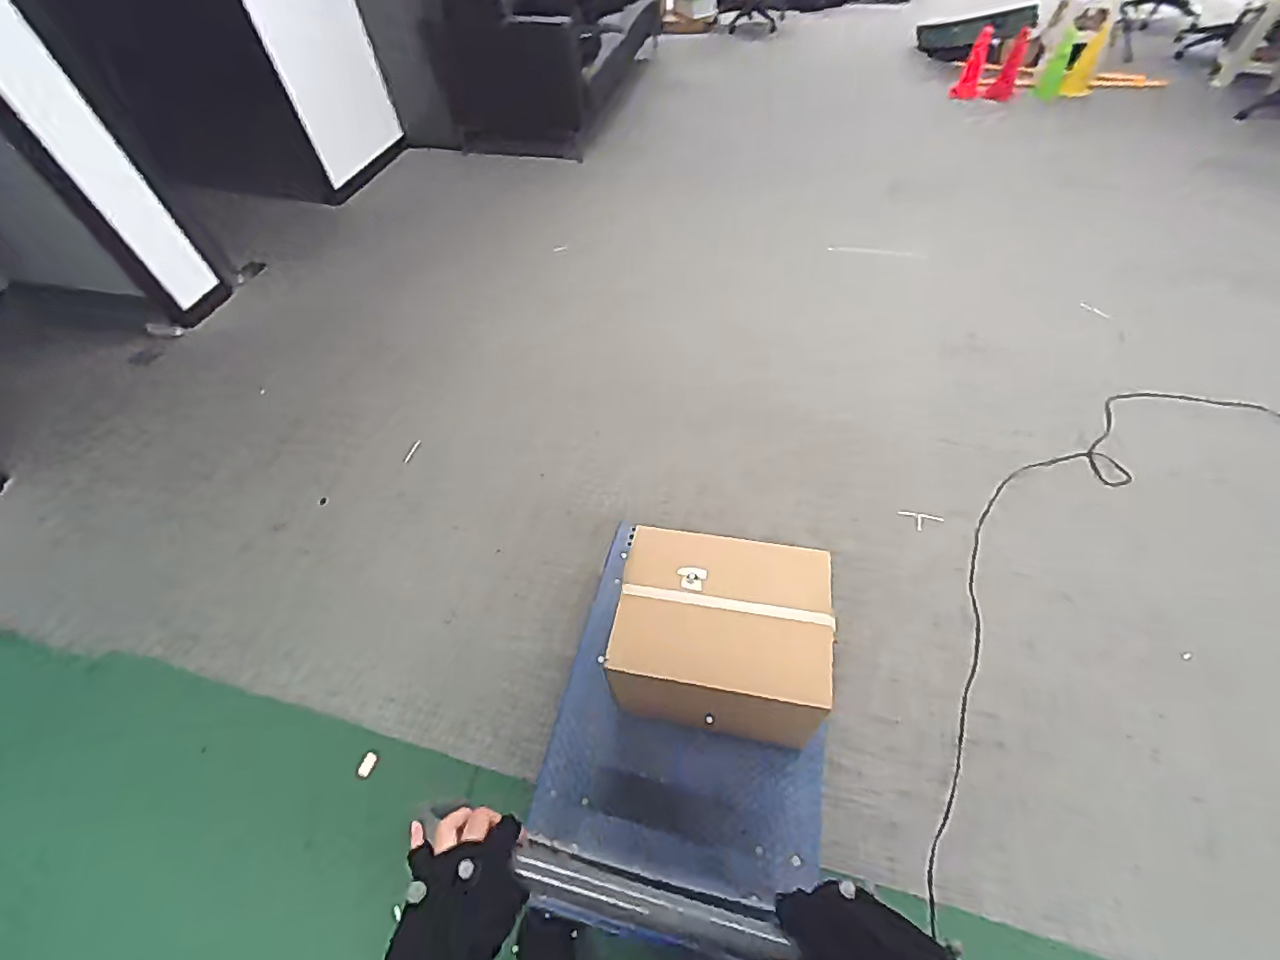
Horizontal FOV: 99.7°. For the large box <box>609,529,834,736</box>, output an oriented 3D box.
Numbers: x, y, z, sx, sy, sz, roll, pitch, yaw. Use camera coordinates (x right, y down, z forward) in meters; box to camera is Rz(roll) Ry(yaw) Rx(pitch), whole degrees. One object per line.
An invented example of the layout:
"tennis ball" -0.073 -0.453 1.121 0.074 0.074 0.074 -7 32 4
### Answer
"large box" 0.176 0.330 1.160 0.408 0.320 0.320 5 53 10
